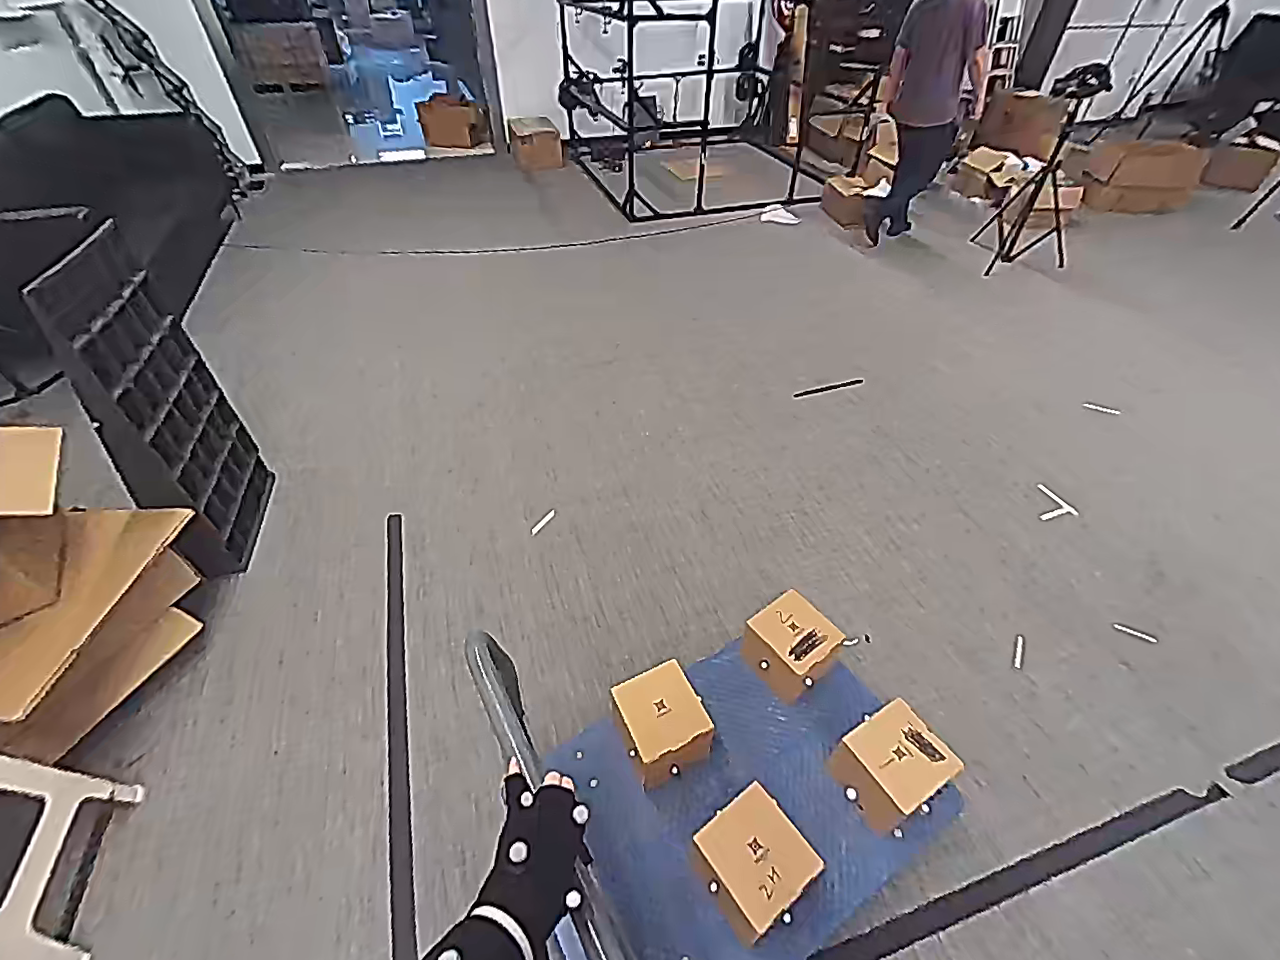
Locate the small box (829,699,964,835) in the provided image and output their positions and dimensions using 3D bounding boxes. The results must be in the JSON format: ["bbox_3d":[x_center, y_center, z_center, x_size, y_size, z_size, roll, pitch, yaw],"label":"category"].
[{"bbox_3d":[0.530,0.608,1.146,0.179,0.176,0.168,-23,48,-20],"label":"small box"}]

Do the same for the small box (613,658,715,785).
[{"bbox_3d":[0.046,0.543,1.215,0.168,0.176,0.179,-19,49,-19],"label":"small box"}]

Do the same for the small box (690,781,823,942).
[{"bbox_3d":[0.210,0.723,1.026,0.168,0.176,0.179,-26,50,-25],"label":"small box"}]
